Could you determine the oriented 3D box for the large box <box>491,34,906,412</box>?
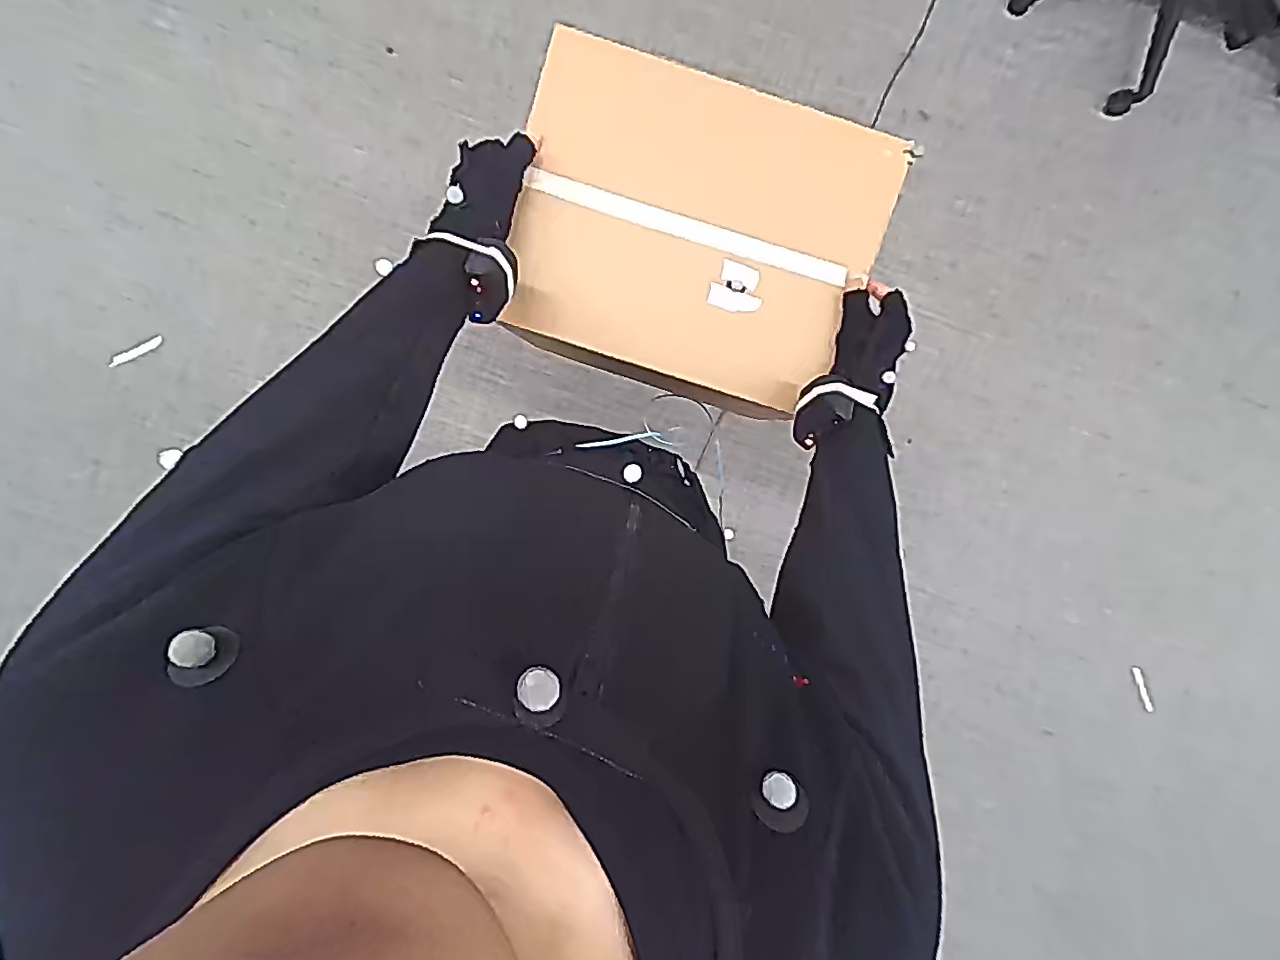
[{"bbox_3d":[0.060,-0.299,0.752,0.408,0.320,0.320,18,98,-2],"label":"large box"}]
